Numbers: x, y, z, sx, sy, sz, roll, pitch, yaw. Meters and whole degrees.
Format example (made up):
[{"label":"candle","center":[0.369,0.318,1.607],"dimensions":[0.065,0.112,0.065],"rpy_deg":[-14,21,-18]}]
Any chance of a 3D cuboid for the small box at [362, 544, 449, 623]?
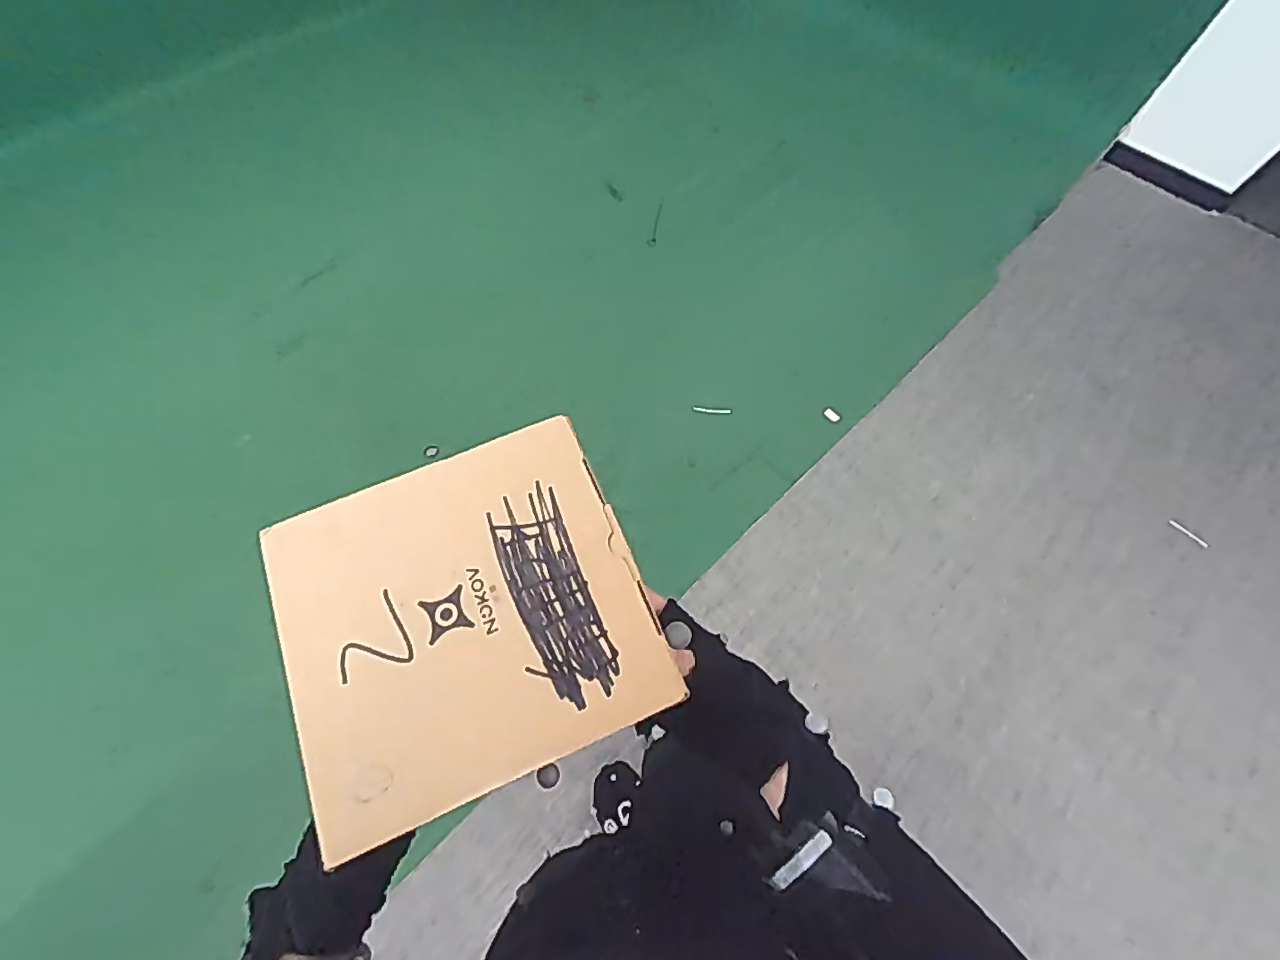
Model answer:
[{"label":"small box","center":[-0.617,0.246,1.374],"dimensions":[0.168,0.176,0.179],"rpy_deg":[-36,69,-16]}]
